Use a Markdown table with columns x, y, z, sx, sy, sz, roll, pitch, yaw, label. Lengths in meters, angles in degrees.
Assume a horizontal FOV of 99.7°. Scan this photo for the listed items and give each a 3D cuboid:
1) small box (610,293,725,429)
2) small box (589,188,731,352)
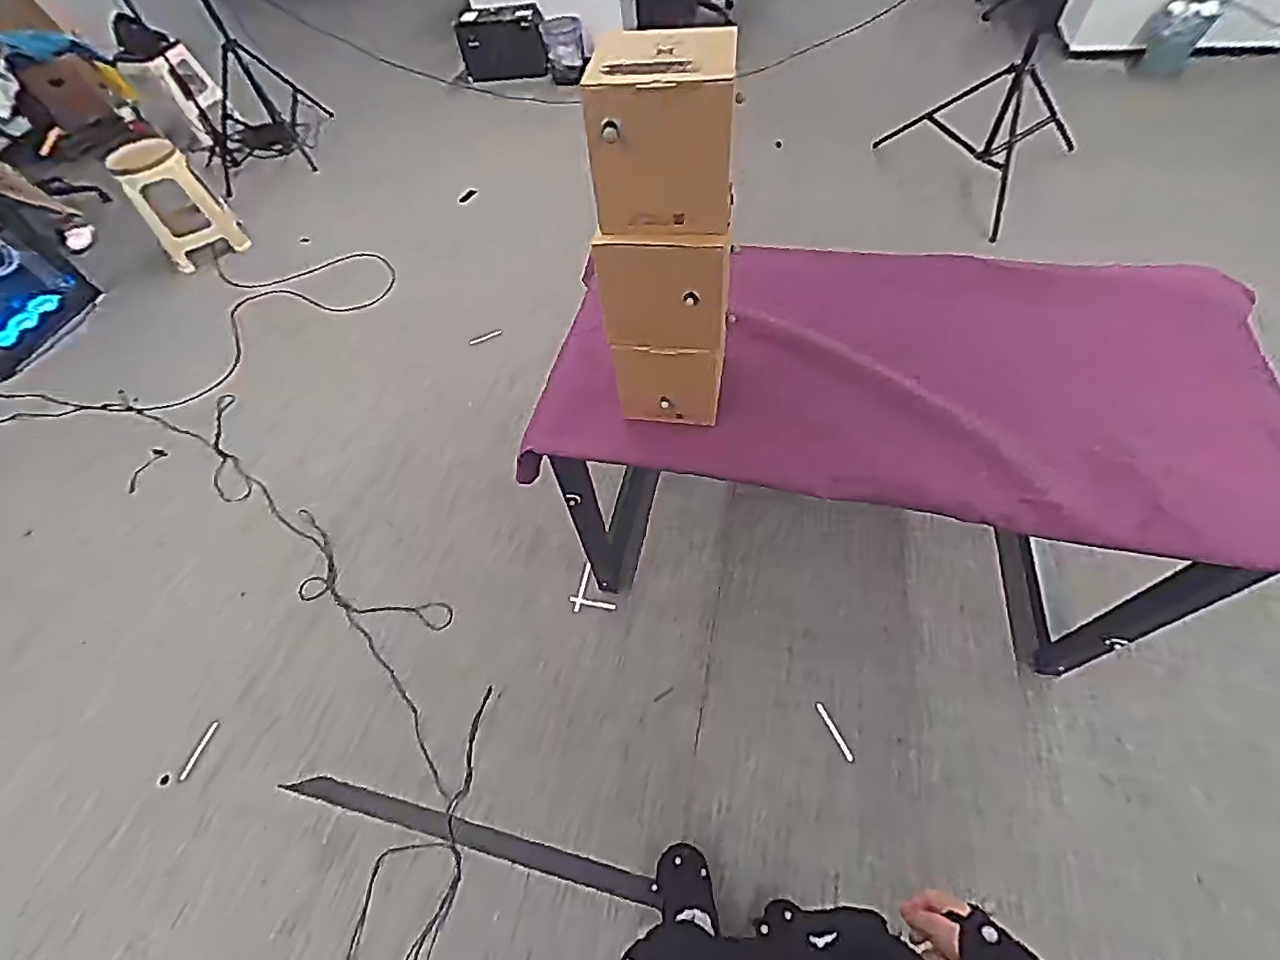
| x | y | z | sx | sy | sz | roll | pitch | yaw | label |
| --- | --- | --- | --- | --- | --- | --- | --- | --- | --- |
| 0.052 | -0.214 | 0.933 | 0.168 | 0.176 | 0.179 | 6 | 57 | 10 | small box |
| 0.038 | -0.306 | 0.801 | 0.179 | 0.176 | 0.168 | 4 | 54 | 10 | small box |
